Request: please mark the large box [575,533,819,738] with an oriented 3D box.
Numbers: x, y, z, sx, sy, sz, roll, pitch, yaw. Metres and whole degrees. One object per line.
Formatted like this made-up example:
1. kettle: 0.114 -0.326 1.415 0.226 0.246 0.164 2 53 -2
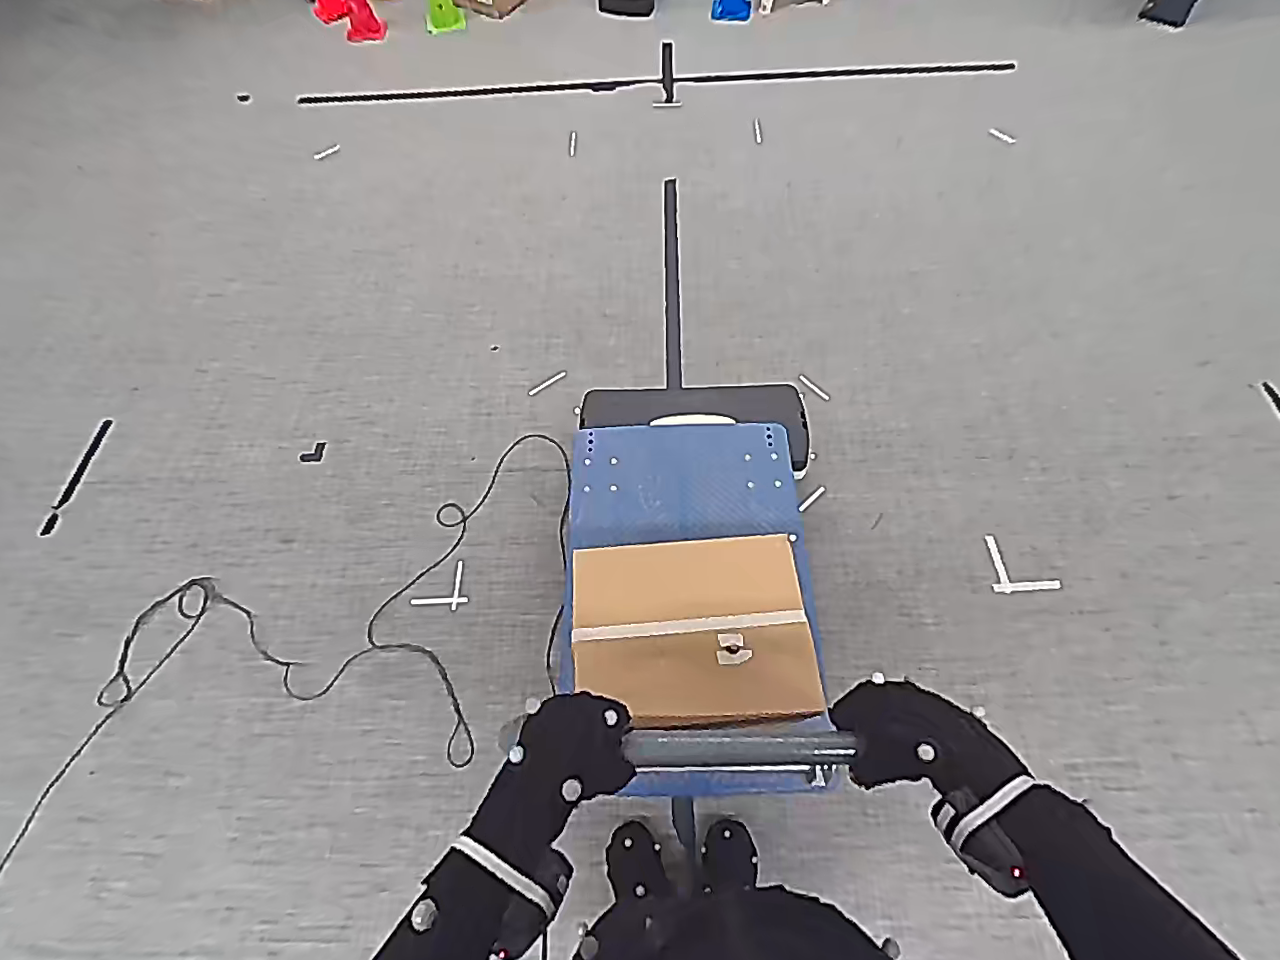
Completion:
1. large box: 0.088 0.323 1.087 0.408 0.320 0.320 -4 63 -2
